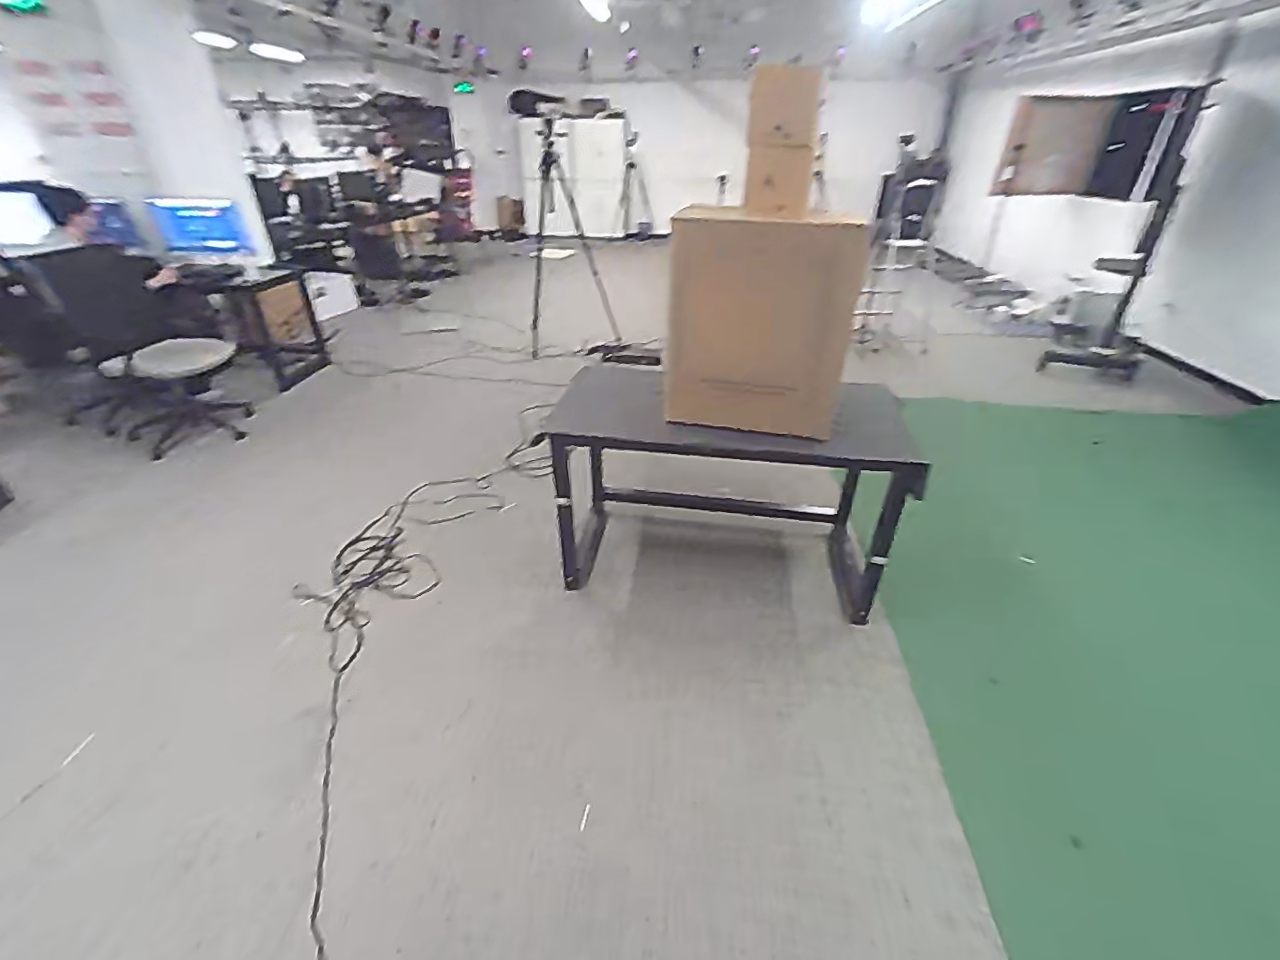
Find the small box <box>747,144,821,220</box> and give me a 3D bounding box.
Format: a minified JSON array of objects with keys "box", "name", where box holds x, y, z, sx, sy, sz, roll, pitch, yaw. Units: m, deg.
[{"box":[0.388,-0.808,1.465,0.168,0.176,0.179,11,35,16],"name":"small box"}]
